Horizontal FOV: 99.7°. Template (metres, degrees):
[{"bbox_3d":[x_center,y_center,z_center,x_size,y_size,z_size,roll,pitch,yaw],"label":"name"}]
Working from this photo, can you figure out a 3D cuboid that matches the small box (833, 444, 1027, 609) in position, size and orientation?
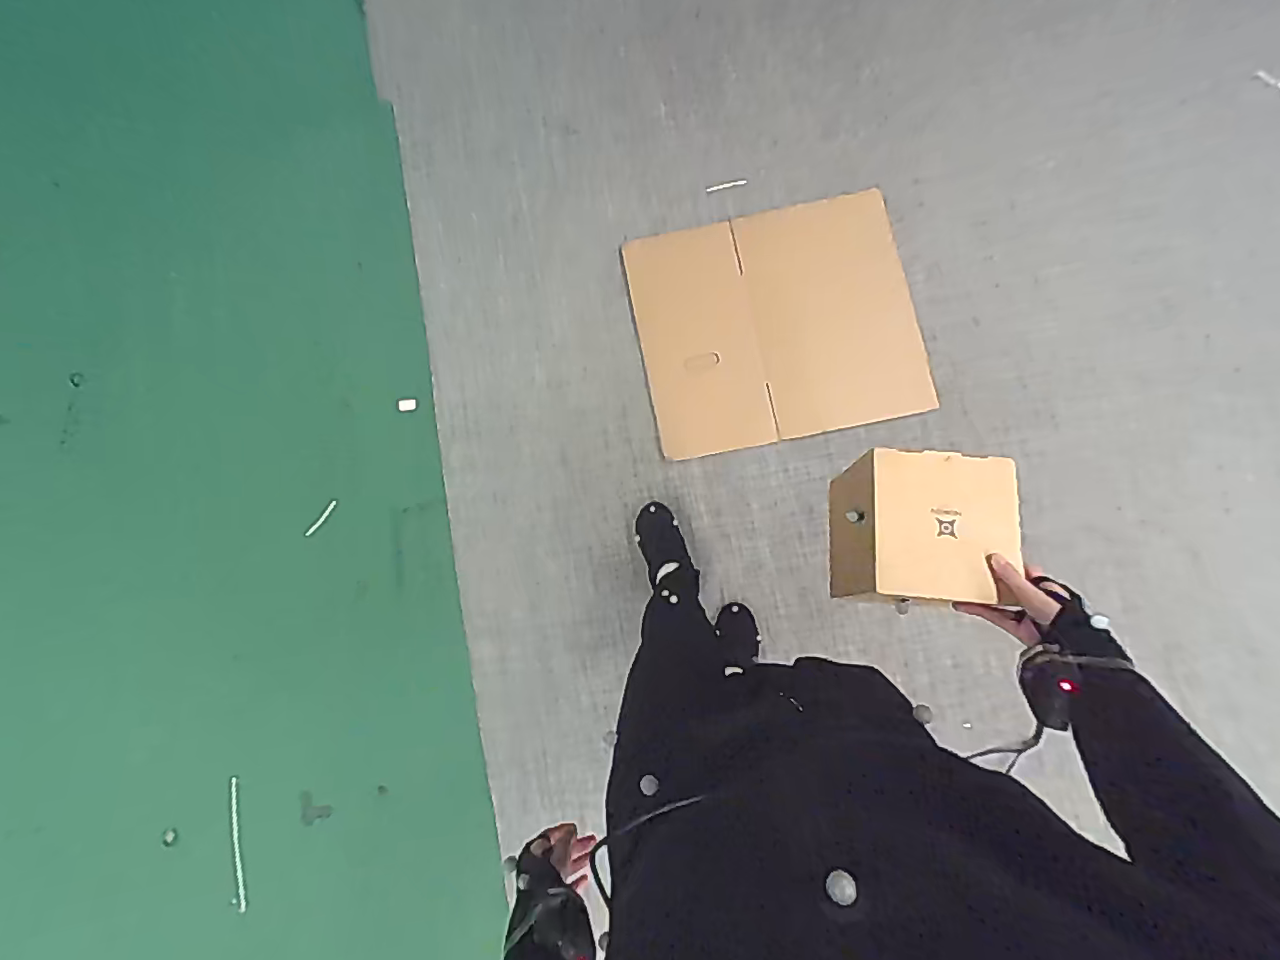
[{"bbox_3d":[0.355,0.068,0.695,0.168,0.176,0.179,5,74,4],"label":"small box"}]
